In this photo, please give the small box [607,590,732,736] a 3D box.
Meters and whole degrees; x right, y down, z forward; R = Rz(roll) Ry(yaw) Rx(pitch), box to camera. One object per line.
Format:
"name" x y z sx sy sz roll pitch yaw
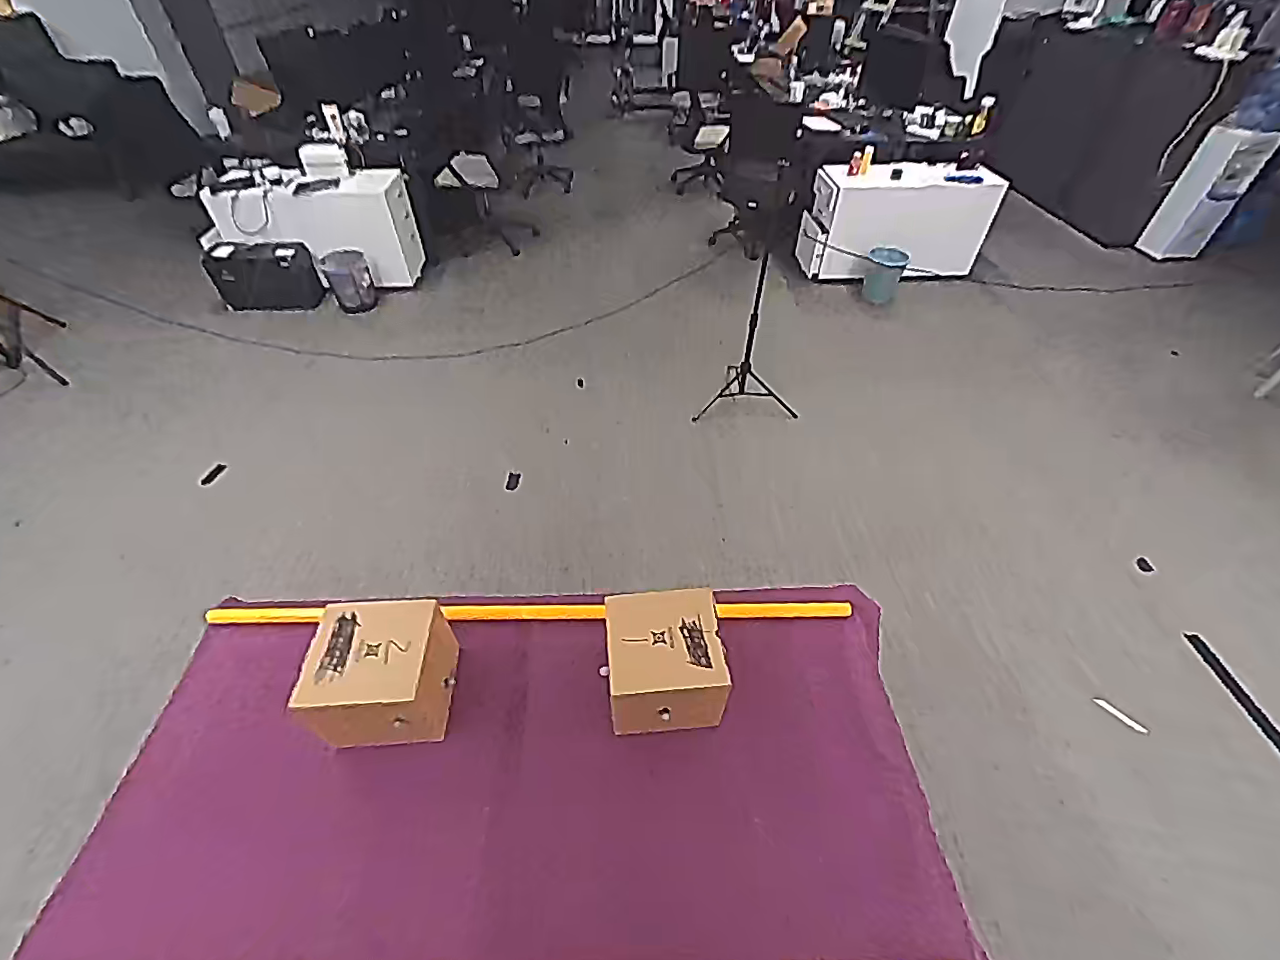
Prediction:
"small box" 0.039 0.296 0.873 0.179 0.176 0.168 -4 47 -3
